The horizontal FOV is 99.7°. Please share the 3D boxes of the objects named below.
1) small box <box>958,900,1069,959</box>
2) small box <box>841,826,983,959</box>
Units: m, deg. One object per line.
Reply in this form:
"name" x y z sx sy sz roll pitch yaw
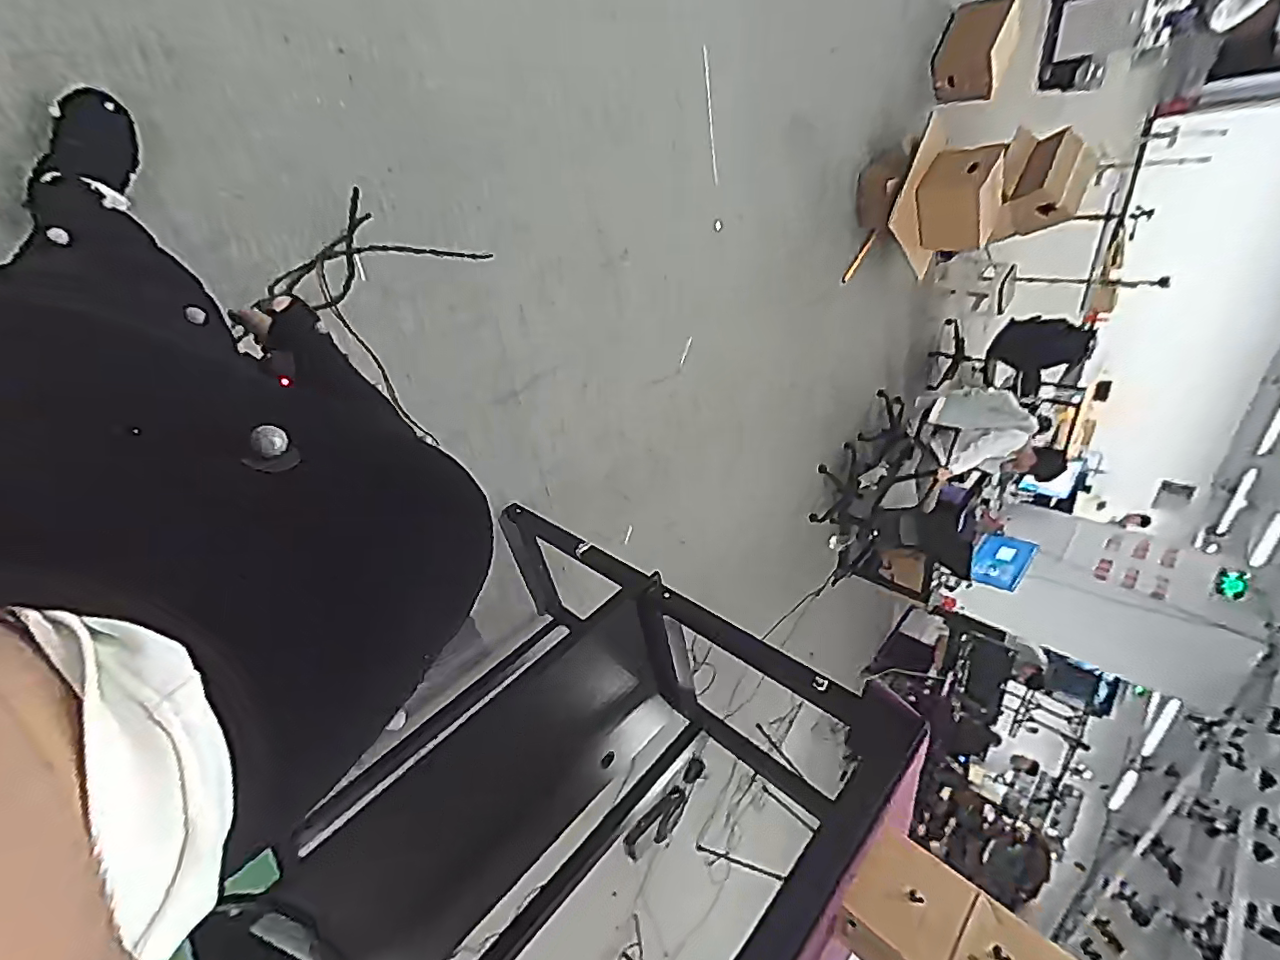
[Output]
"small box" 0.591 0.826 0.859 0.168 0.176 0.179 -35 130 -32
"small box" 0.473 0.774 0.958 0.179 0.176 0.168 -36 130 -32
